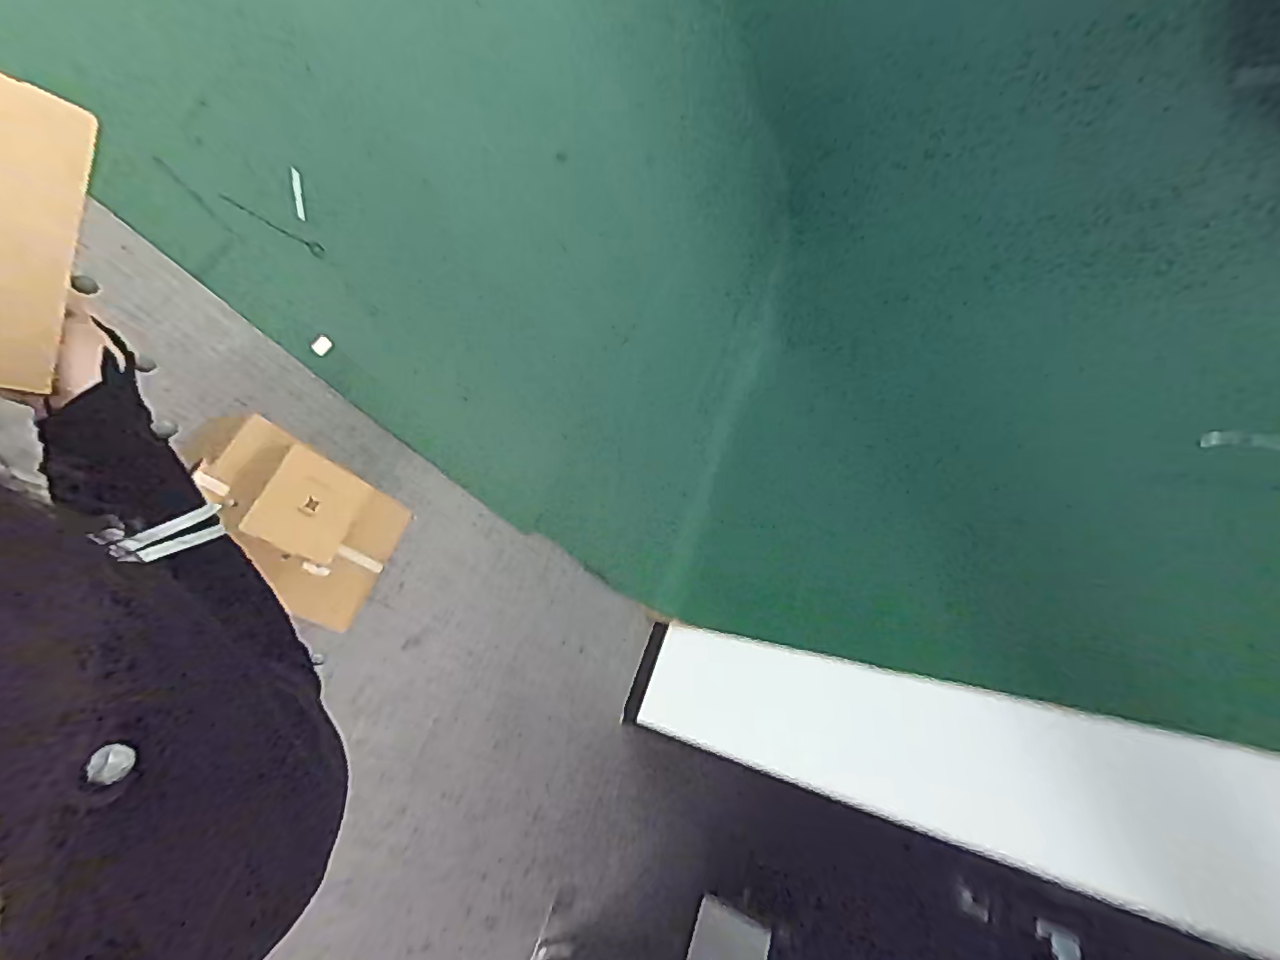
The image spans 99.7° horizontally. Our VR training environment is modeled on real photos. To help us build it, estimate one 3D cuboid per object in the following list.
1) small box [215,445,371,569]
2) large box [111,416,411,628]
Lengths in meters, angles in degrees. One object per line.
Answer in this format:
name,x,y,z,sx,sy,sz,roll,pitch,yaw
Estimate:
small box,-0.667,0.052,1.034,0.168,0.176,0.179,46,54,-43
large box,-0.832,0.098,1.224,0.408,0.320,0.320,48,55,-43
